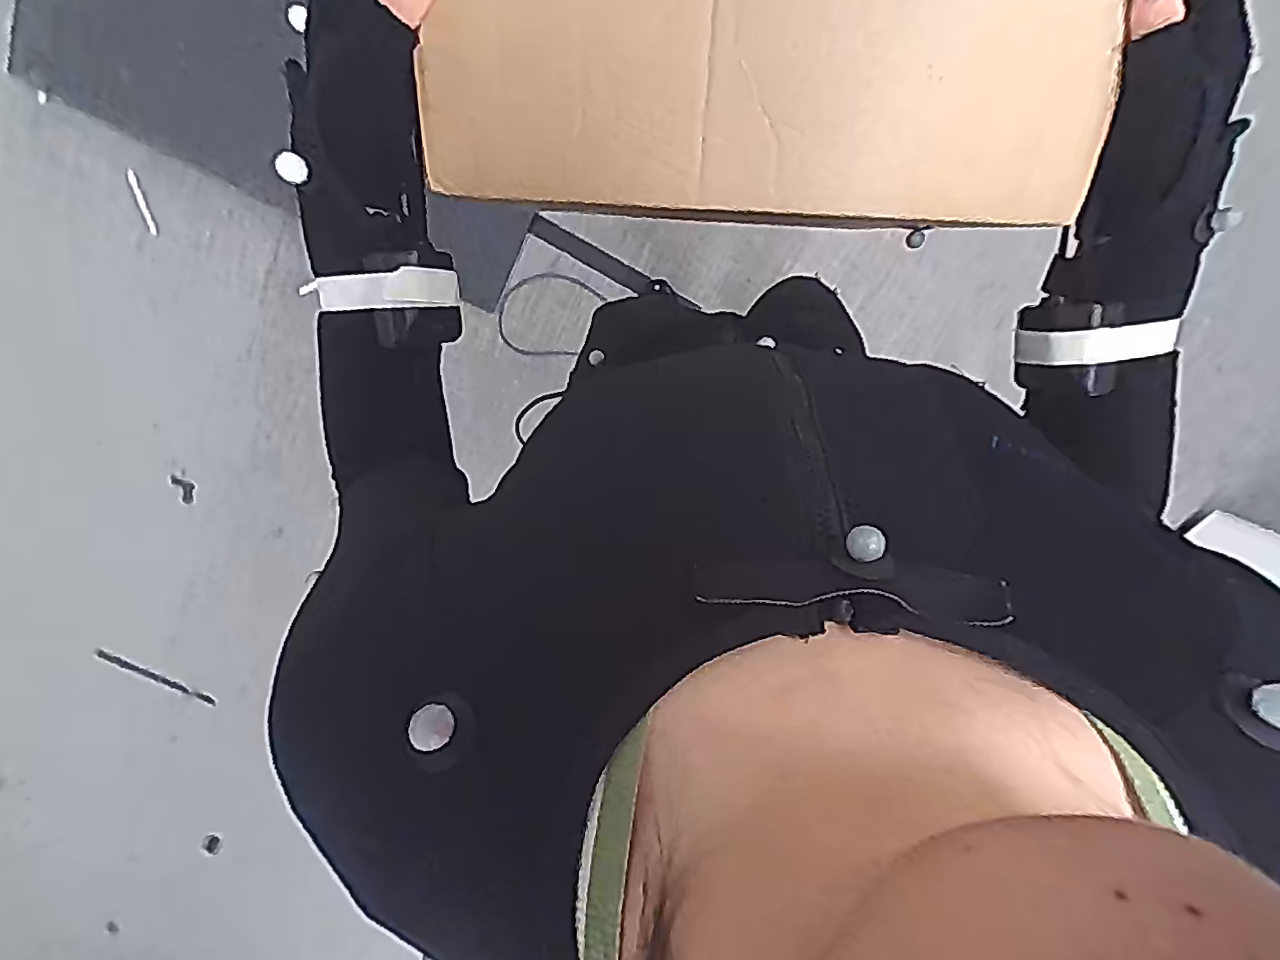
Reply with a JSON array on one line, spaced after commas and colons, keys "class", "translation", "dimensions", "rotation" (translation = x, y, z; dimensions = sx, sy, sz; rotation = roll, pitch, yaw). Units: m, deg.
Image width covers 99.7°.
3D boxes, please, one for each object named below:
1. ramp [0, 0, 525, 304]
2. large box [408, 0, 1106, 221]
[{"class": "ramp", "translation": [-0.715, -0.830, 1.144], "dimensions": [0.991, 0.206, 0.509], "rotation": [25, 107, -9]}, {"class": "large box", "translation": [0.069, -0.378, 0.418], "dimensions": [0.408, 0.320, 0.320], "rotation": [1, 115, -2]}]
